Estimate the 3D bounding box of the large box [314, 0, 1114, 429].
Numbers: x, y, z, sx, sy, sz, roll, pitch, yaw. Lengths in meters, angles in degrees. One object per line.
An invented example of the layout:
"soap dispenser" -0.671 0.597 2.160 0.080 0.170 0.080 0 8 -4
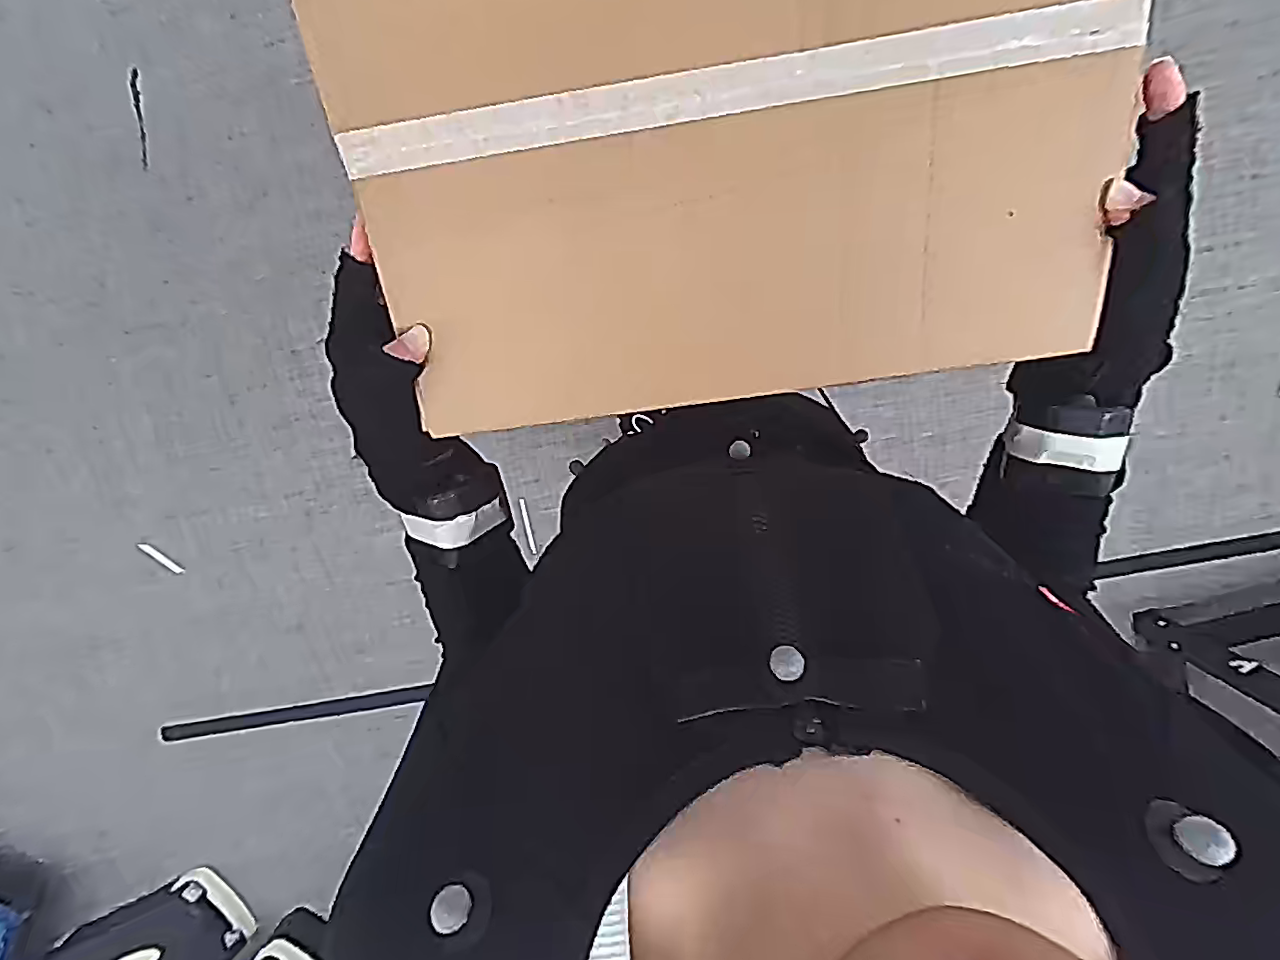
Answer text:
"large box" 0.042 -0.254 0.427 0.408 0.320 0.320 -8 112 3
